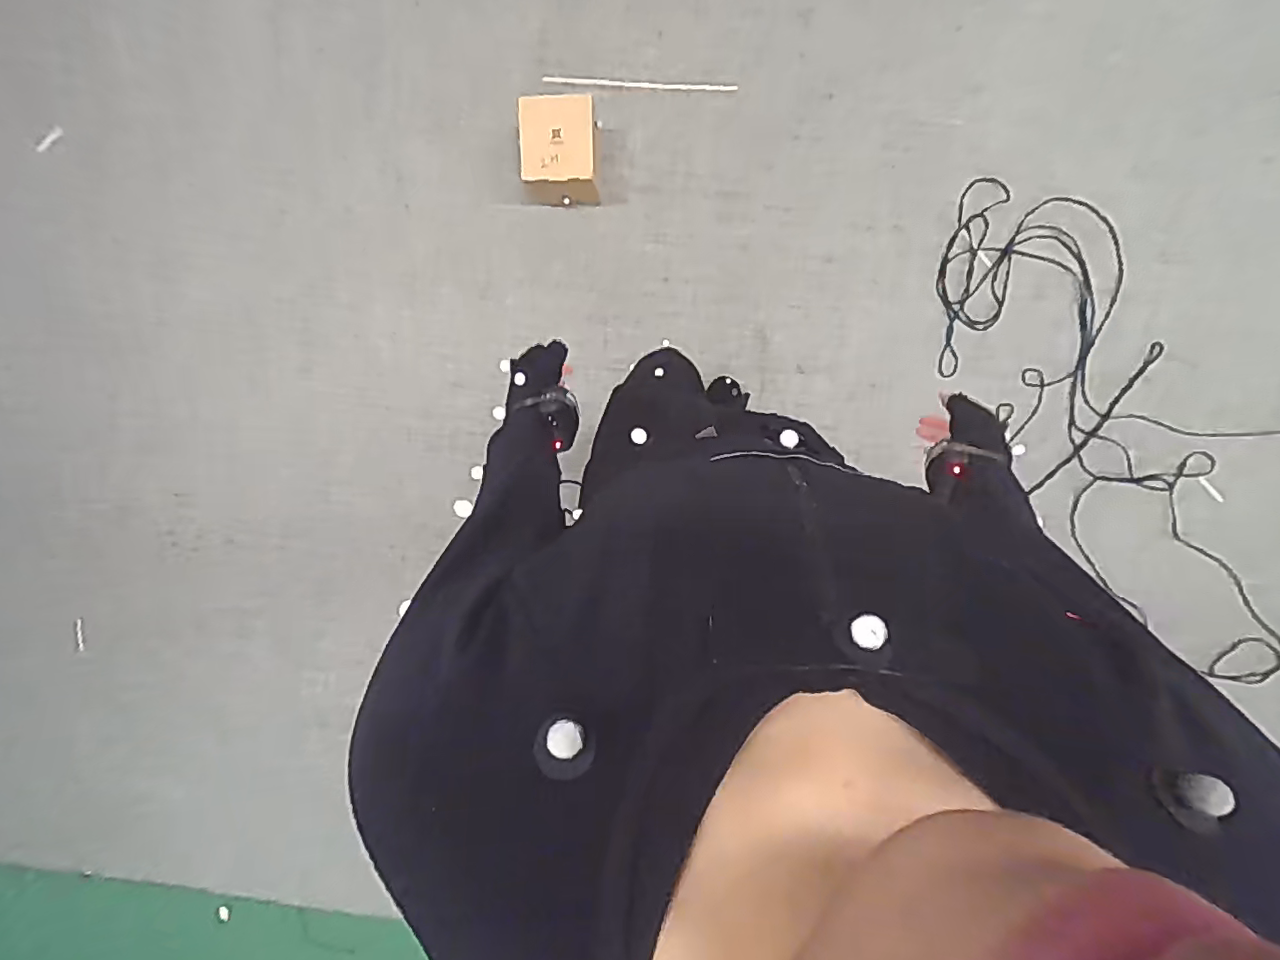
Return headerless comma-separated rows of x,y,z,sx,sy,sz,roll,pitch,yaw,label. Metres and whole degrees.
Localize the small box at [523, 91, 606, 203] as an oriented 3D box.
-0.173,-0.775,1.271,0.168,0.176,0.179,1,100,4,small box
